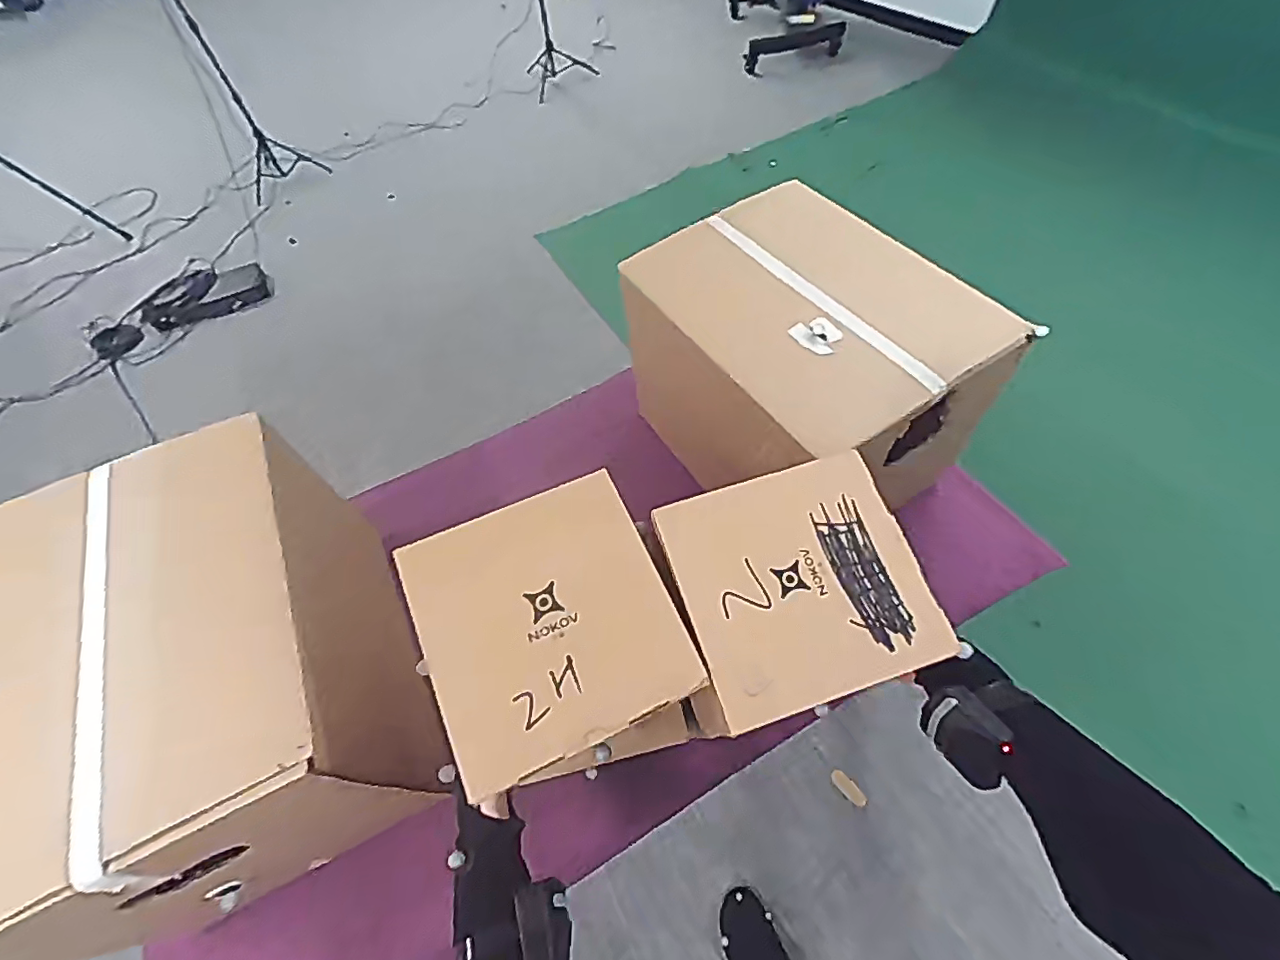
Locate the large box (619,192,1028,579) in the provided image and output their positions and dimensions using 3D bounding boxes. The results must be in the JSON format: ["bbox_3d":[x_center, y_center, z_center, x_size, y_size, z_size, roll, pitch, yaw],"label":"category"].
[{"bbox_3d":[0.214,-0.139,0.789,0.320,0.320,0.408,-31,60,-12],"label":"large box"}]

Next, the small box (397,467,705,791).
[{"bbox_3d":[-0.070,0.122,0.439,0.168,0.176,0.179,-21,68,-13],"label":"small box"}]
